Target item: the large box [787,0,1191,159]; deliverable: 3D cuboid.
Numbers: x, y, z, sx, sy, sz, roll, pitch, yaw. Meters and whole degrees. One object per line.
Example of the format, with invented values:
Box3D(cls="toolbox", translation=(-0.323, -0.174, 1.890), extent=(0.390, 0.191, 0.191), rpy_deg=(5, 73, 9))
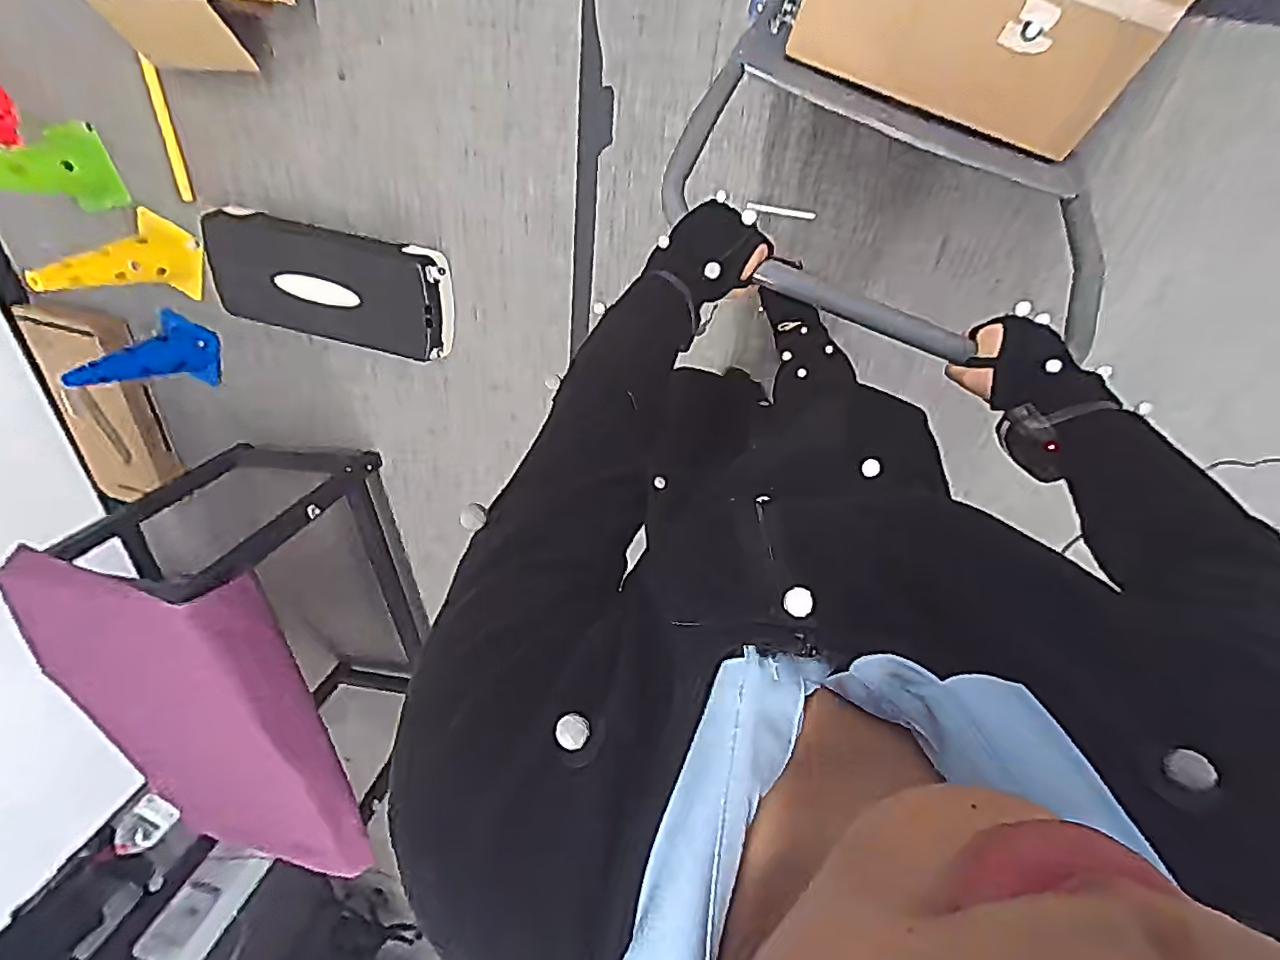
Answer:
Box3D(cls="large box", translation=(0.451, -0.692, 0.692), extent=(0.408, 0.320, 0.320), rpy_deg=(22, 144, 0))
